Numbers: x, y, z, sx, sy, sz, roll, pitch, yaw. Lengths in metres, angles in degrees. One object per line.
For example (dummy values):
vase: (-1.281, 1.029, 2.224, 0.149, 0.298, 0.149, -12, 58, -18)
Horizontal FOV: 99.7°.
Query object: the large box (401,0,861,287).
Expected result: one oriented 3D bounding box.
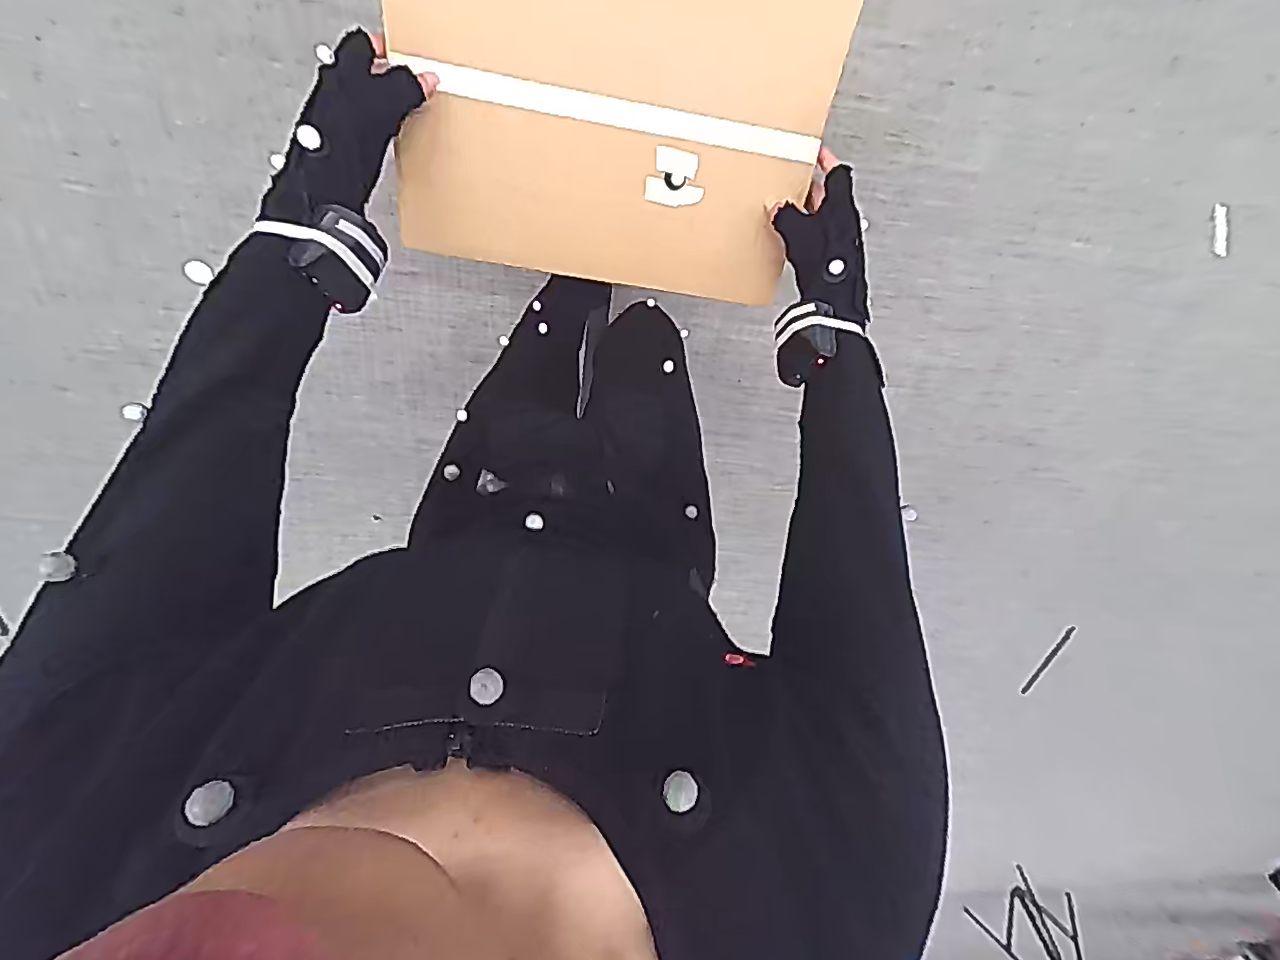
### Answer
large box: (-0.025, -0.446, 0.630, 0.408, 0.320, 0.320, 6, 126, -9)
